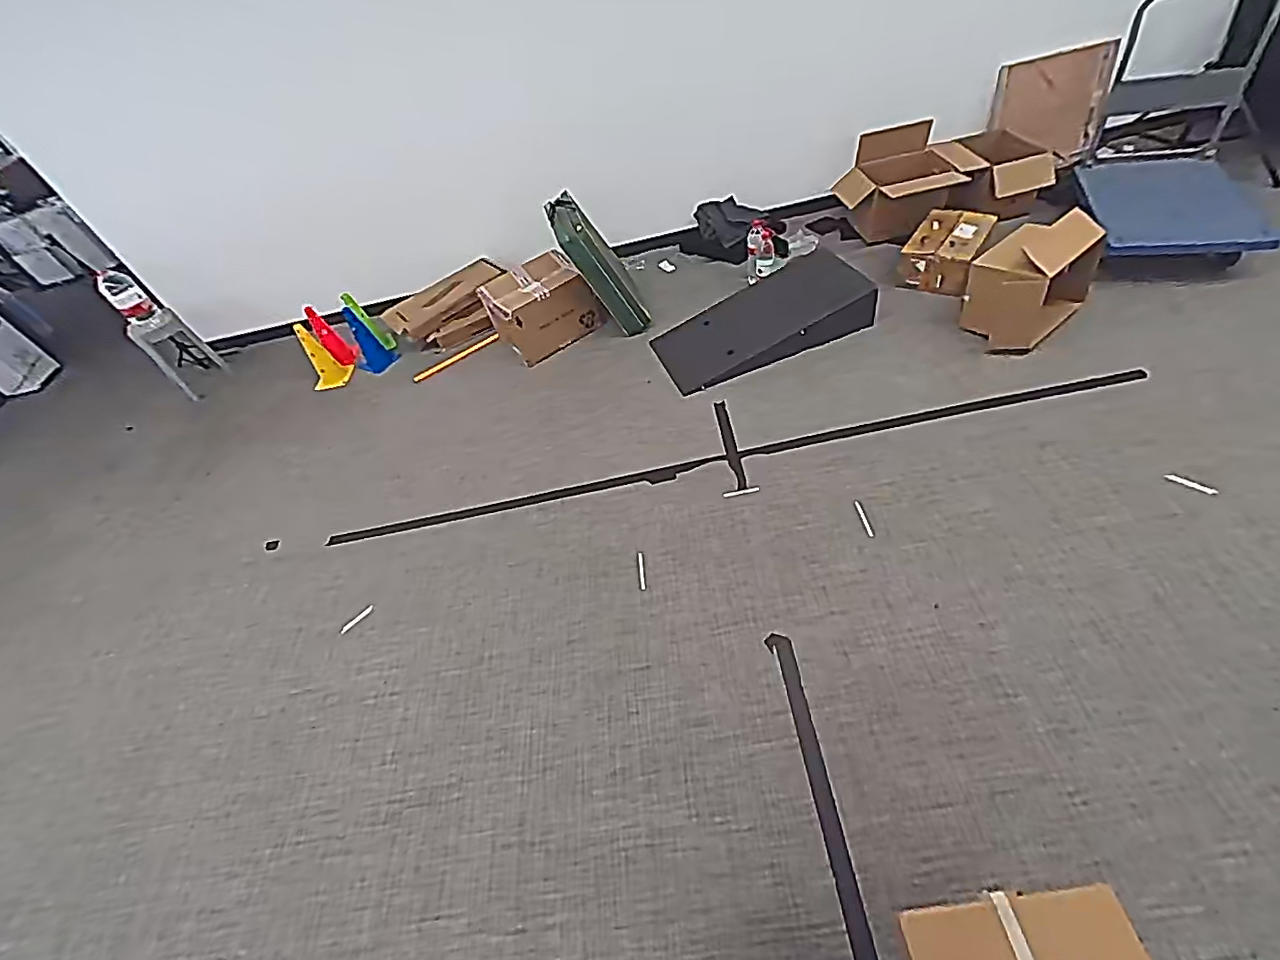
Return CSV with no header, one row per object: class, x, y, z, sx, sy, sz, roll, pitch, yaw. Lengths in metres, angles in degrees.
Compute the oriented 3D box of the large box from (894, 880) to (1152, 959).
large box,0.628,0.883,0.820,0.320,0.320,0.408,-16,49,10
